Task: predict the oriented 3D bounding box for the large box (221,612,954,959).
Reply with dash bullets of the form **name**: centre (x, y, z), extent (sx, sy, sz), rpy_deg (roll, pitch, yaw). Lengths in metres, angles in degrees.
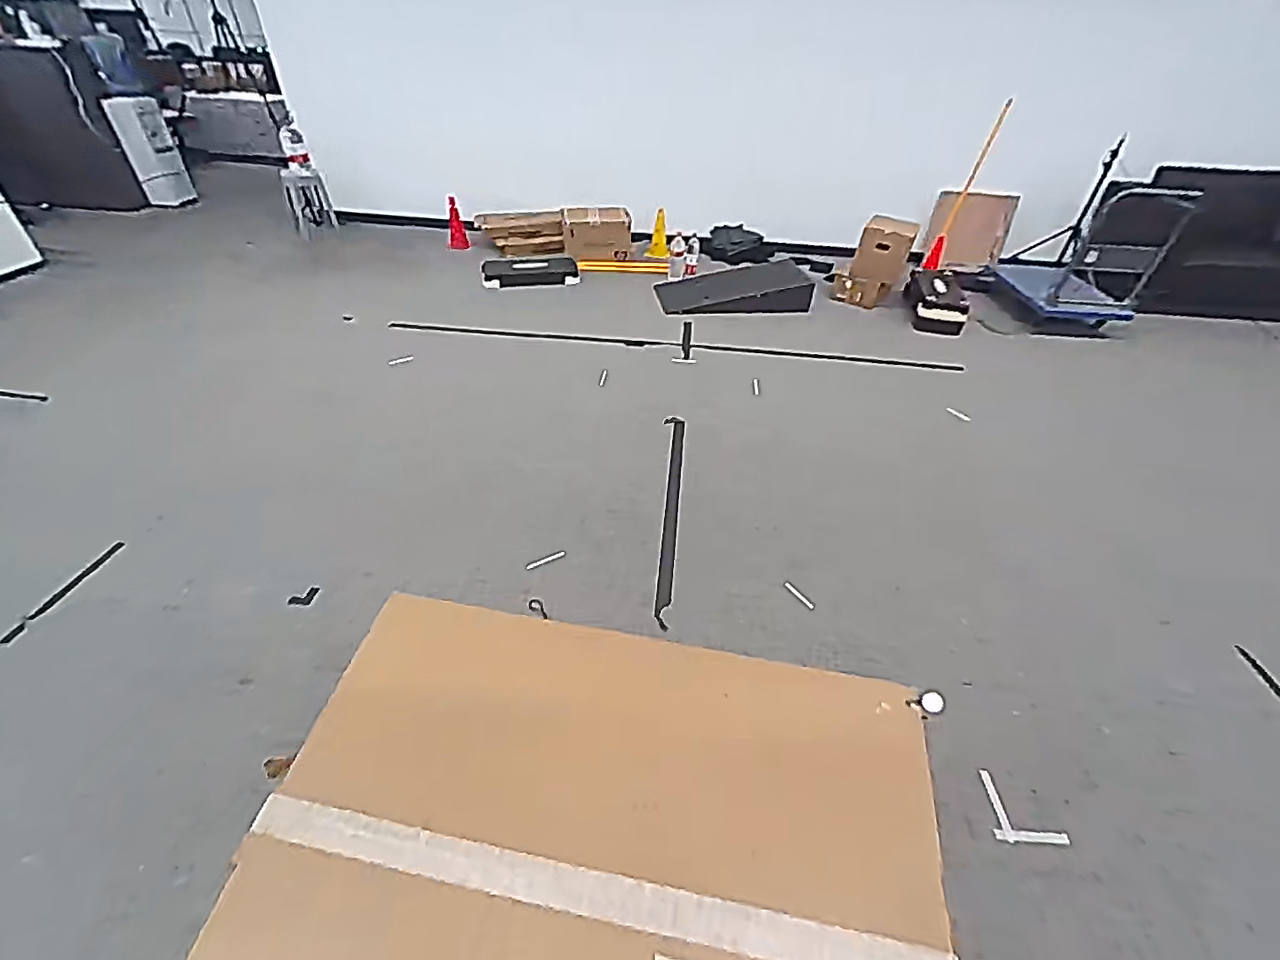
- **large box**: centre (-0.026, 0.340, 0.427), extent (0.408, 0.320, 0.320), rpy_deg (8, 50, 6)
